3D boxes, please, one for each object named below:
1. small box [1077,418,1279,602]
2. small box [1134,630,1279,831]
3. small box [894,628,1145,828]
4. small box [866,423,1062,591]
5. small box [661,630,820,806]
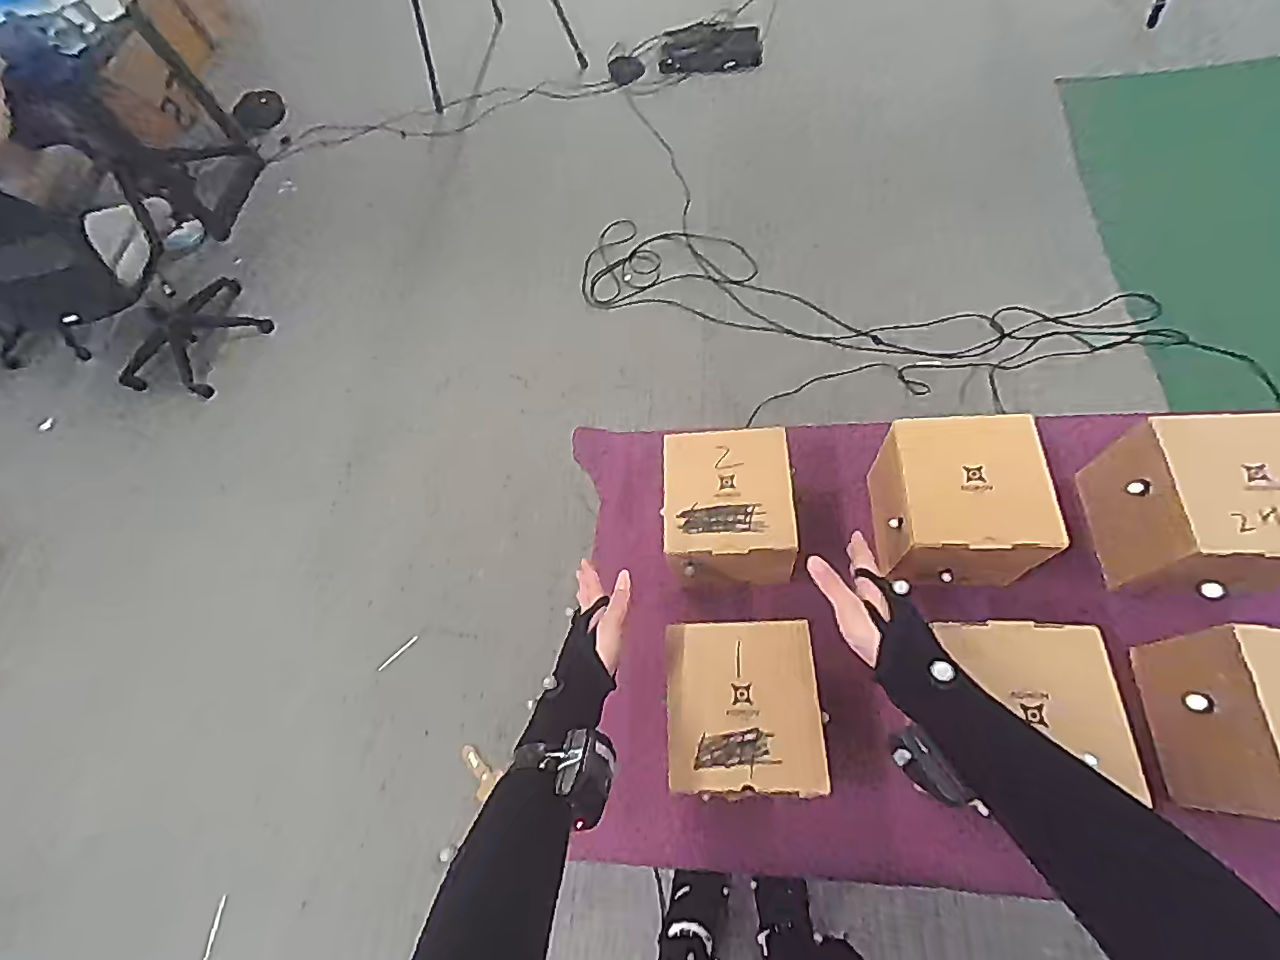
[{"bbox_3d":[0.687,0.042,0.666,0.168,0.176,0.179,-1,65,12],"label":"small box"},{"bbox_3d":[0.672,0.265,0.560,0.168,0.176,0.179,0,63,12],"label":"small box"},{"bbox_3d":[0.401,0.275,0.613,0.168,0.176,0.179,-2,64,12],"label":"small box"},{"bbox_3d":[0.412,0.041,0.727,0.168,0.176,0.179,-2,65,11],"label":"small box"},{"bbox_3d":[0.118,0.290,0.661,0.168,0.176,0.179,-4,61,9],"label":"small box"}]
